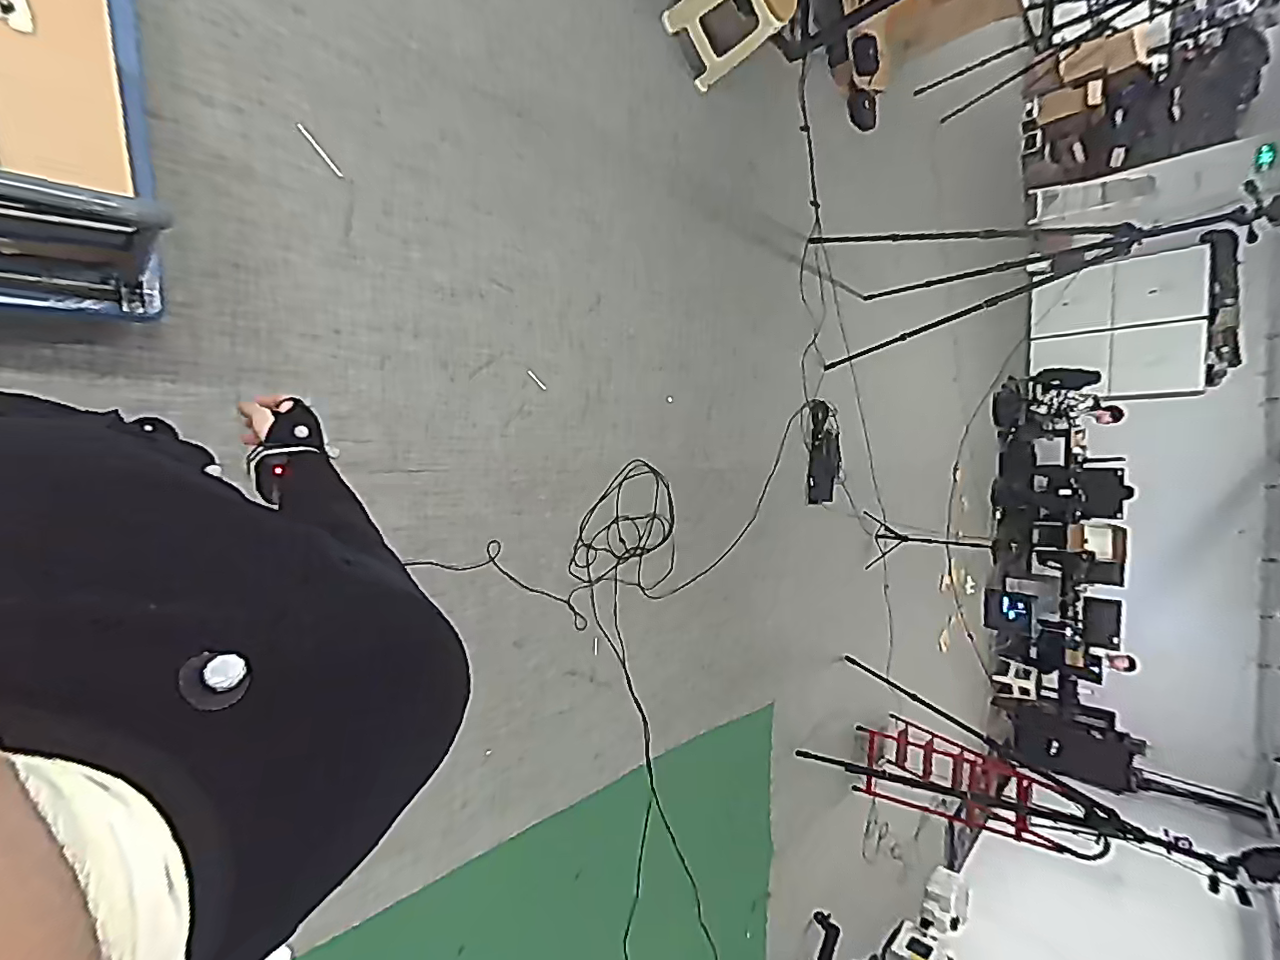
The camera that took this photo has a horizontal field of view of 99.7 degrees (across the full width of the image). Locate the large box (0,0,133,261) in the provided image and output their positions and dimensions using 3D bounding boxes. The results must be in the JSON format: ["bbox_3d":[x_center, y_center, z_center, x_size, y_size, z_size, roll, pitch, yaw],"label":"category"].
[{"bbox_3d":[-1.039,-0.604,0.845,0.320,0.320,0.408,-9,97,-45],"label":"large box"}]
